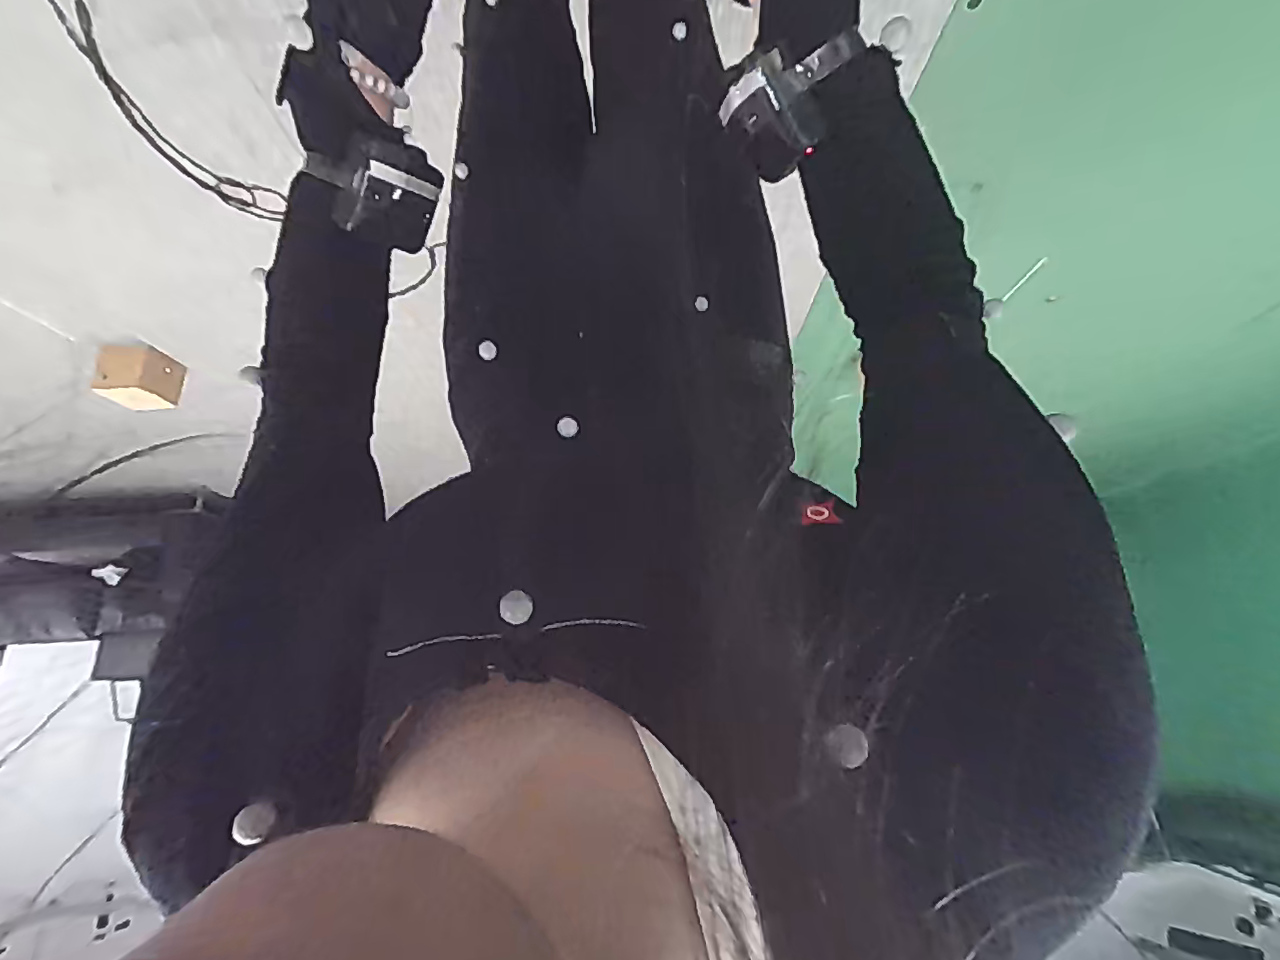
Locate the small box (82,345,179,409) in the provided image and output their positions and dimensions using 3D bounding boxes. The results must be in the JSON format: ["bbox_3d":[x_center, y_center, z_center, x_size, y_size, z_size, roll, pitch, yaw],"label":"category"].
[{"bbox_3d":[-1.800,-0.366,1.922,0.179,0.176,0.168,-3,163,1],"label":"small box"}]
